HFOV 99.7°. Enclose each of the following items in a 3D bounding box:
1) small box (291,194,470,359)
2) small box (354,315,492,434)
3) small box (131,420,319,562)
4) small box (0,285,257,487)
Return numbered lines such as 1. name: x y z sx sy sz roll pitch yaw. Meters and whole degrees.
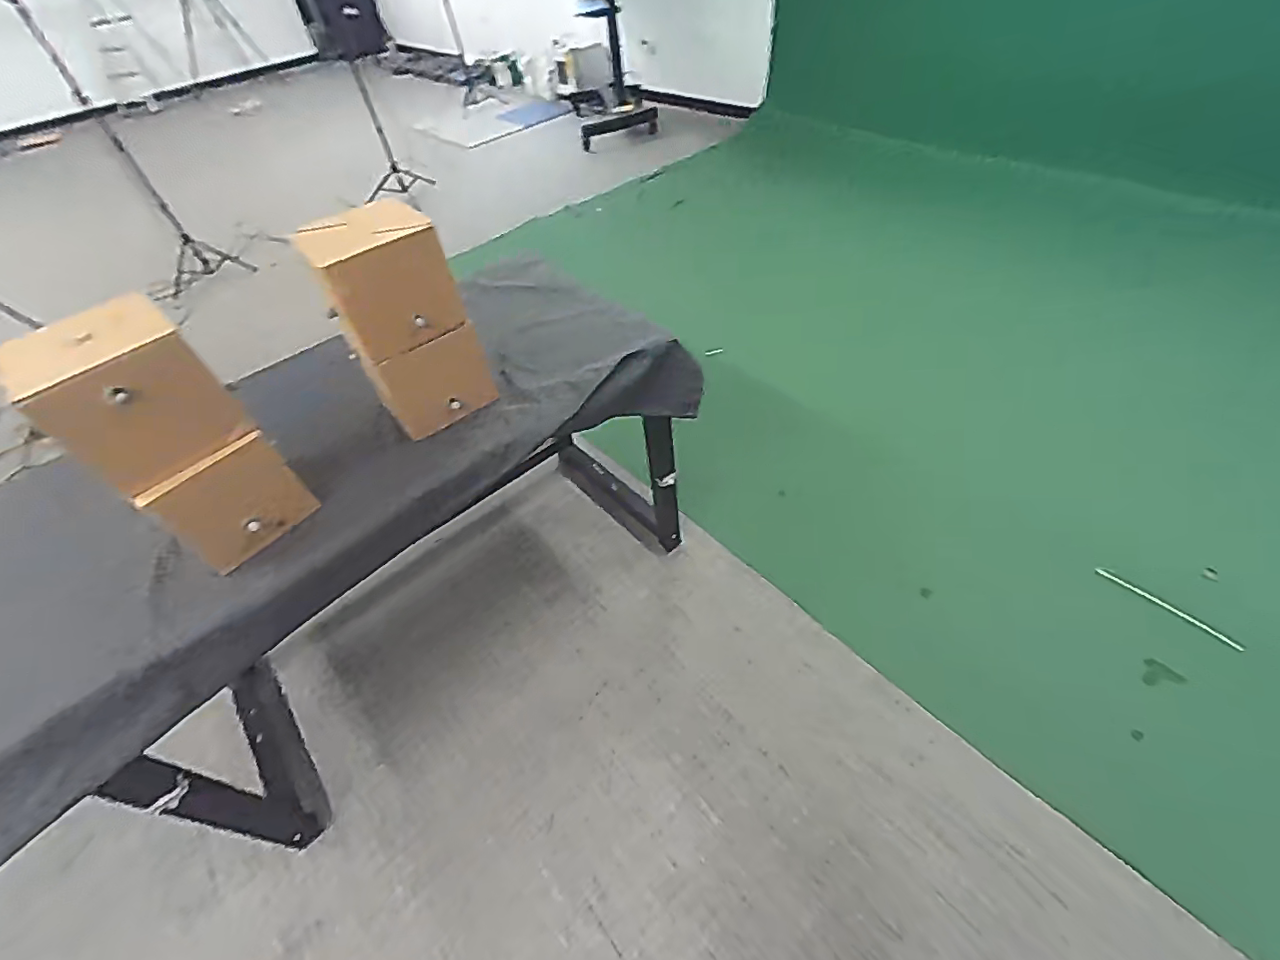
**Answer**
1. small box: -0.407 -0.328 0.856 0.179 0.176 0.168 -34 53 -21
2. small box: -0.388 -0.217 0.981 0.179 0.176 0.168 -35 53 -22
3. small box: -0.641 -0.006 0.826 0.179 0.176 0.168 29 58 28
4. small box: -0.664 -0.122 0.714 0.168 0.176 0.179 34 59 29
